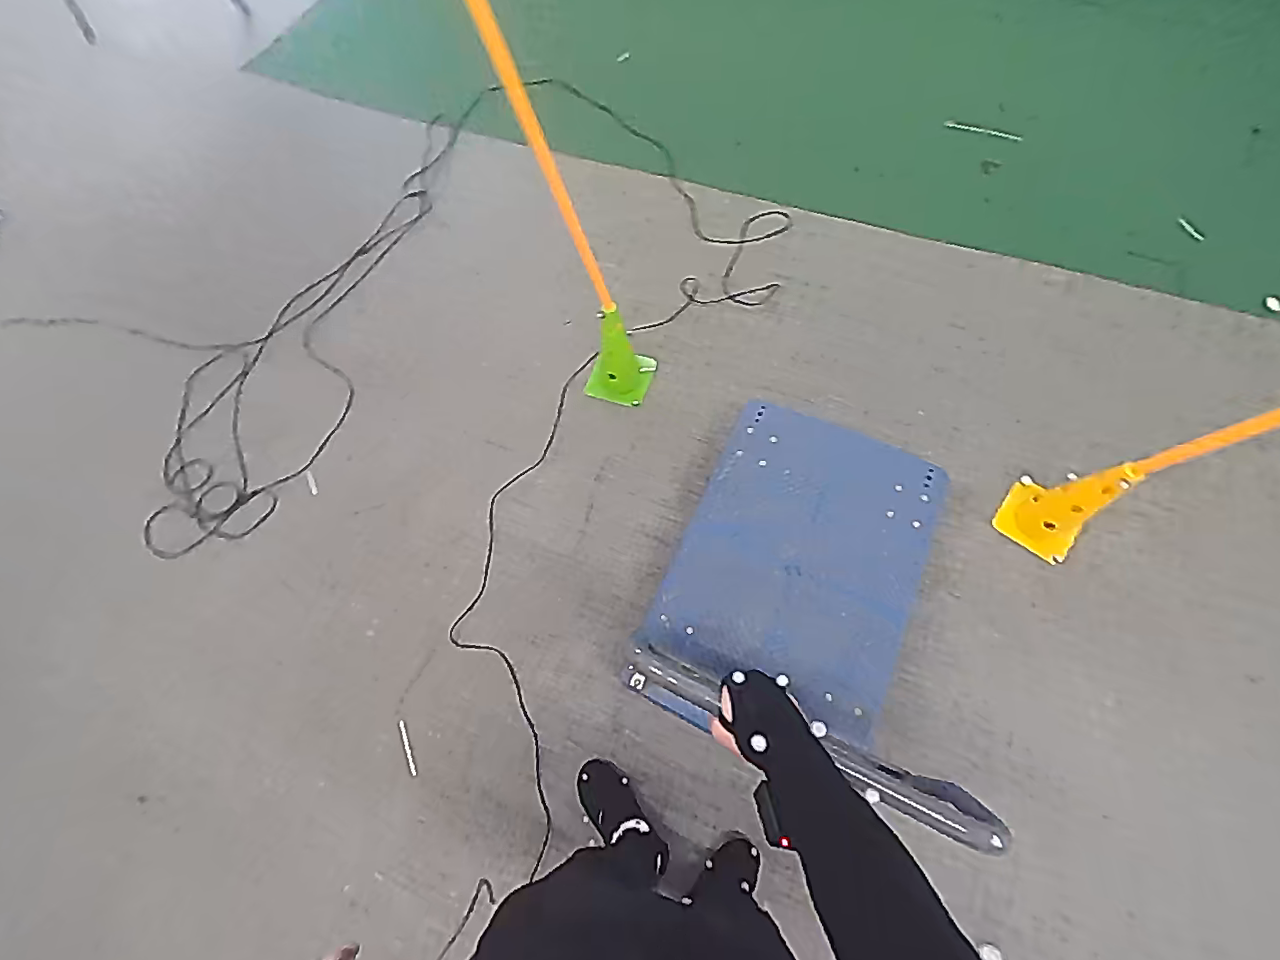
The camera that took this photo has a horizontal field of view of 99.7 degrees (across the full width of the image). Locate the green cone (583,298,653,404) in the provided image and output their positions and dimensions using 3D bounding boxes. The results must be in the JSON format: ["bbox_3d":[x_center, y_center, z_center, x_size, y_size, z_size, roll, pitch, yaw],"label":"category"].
[{"bbox_3d":[-0.089,-0.423,1.667,0.202,0.368,0.200,15,69,12],"label":"green cone"}]
